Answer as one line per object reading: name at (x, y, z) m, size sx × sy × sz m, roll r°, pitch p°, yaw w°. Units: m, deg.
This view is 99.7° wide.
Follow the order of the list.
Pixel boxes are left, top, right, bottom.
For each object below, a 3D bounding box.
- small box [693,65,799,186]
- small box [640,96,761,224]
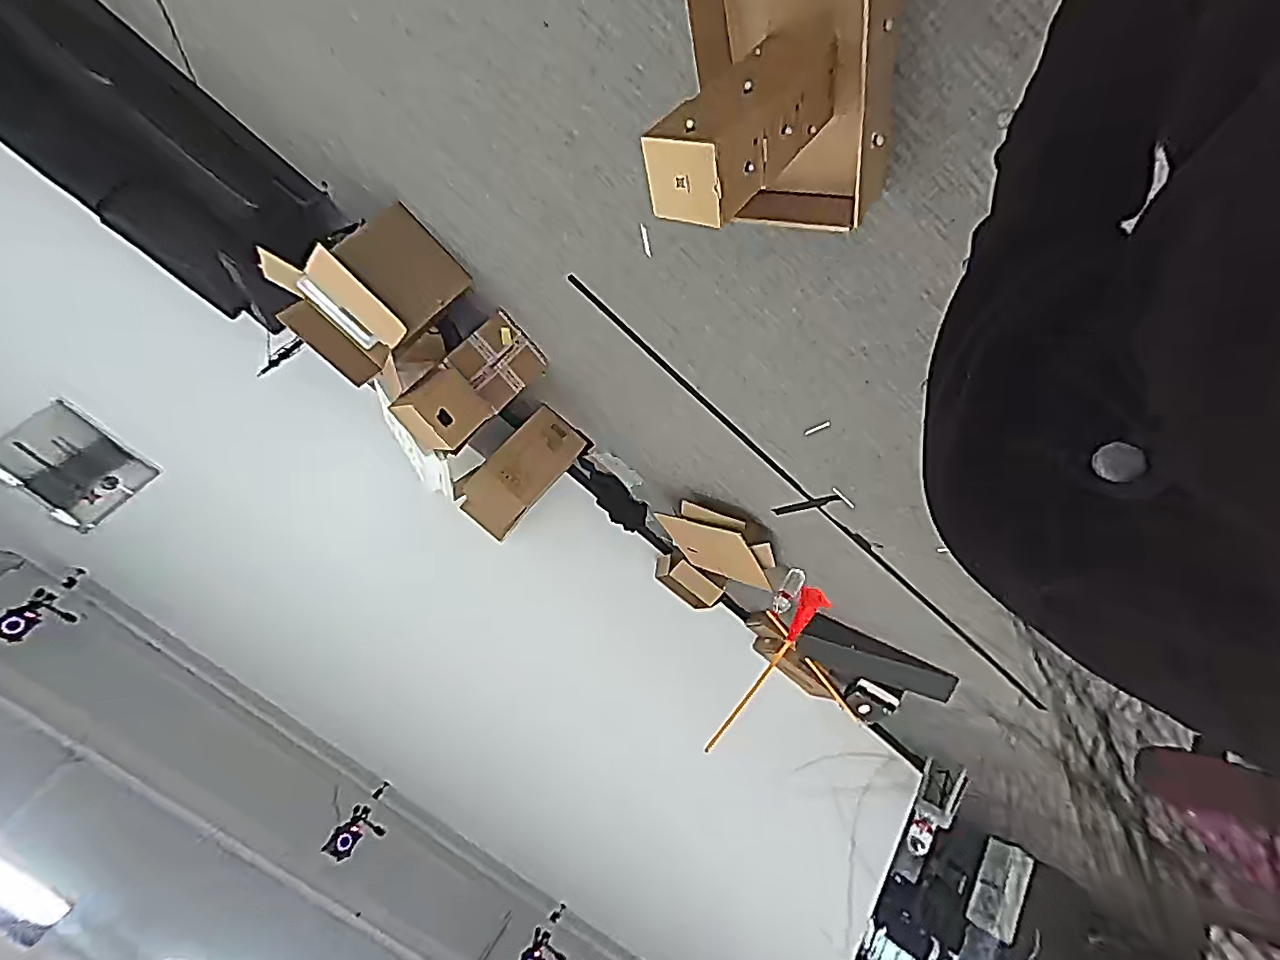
small box at (0.231, -0.771, 1.173) m, size 0.179 × 0.176 × 0.168 m, roll 25°, pitch 154°, yaw 28°
small box at (0.130, -0.659, 1.110) m, size 0.179 × 0.176 × 0.168 m, roll 25°, pitch 154°, yaw 29°
